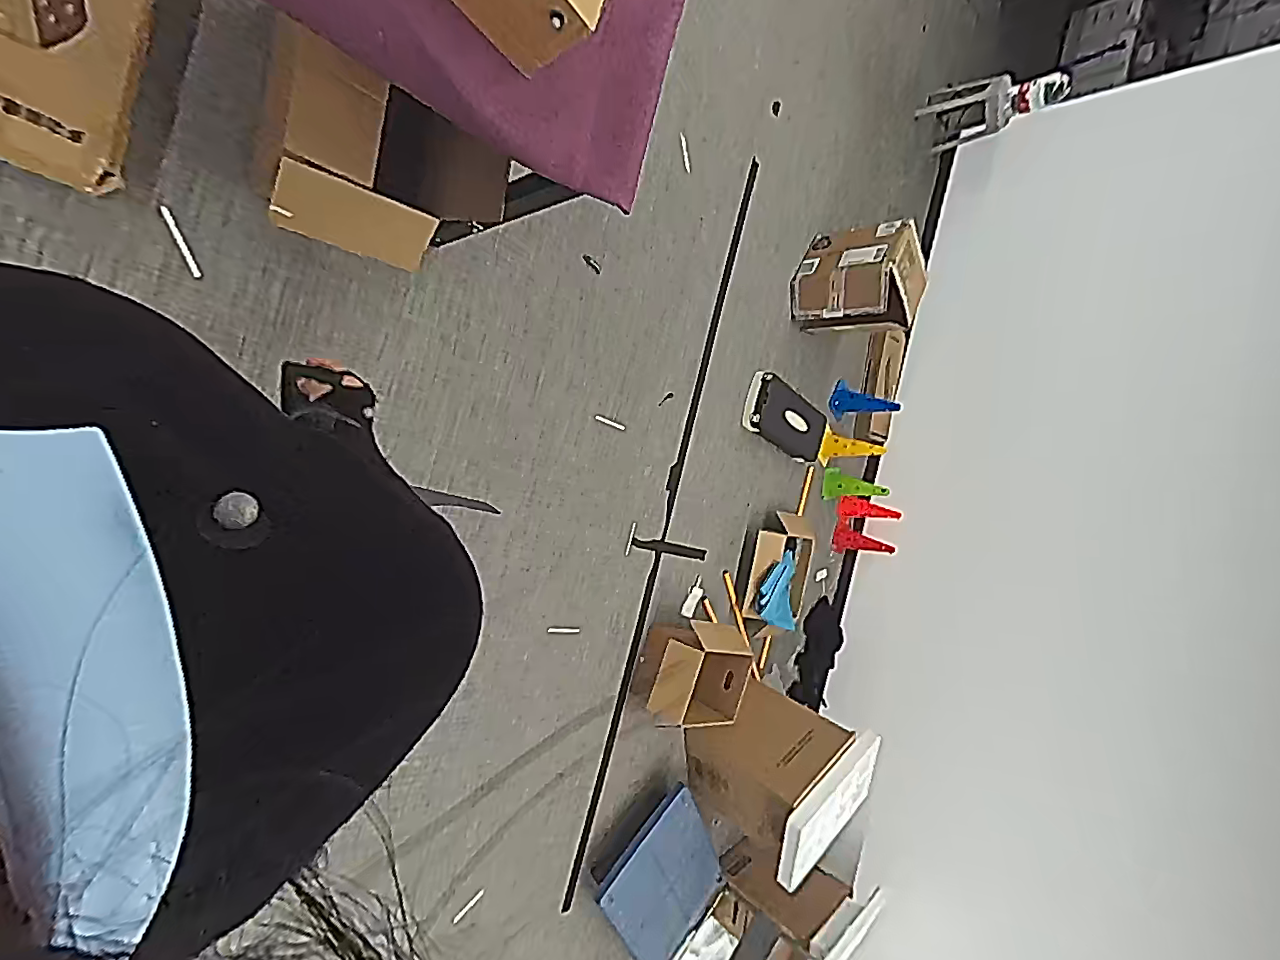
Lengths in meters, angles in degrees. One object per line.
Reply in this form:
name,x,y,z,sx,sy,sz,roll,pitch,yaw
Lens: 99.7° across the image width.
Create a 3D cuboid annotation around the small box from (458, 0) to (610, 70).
small box,-0.142,-0.704,0.719,0.179,0.176,0.168,25,81,-46
